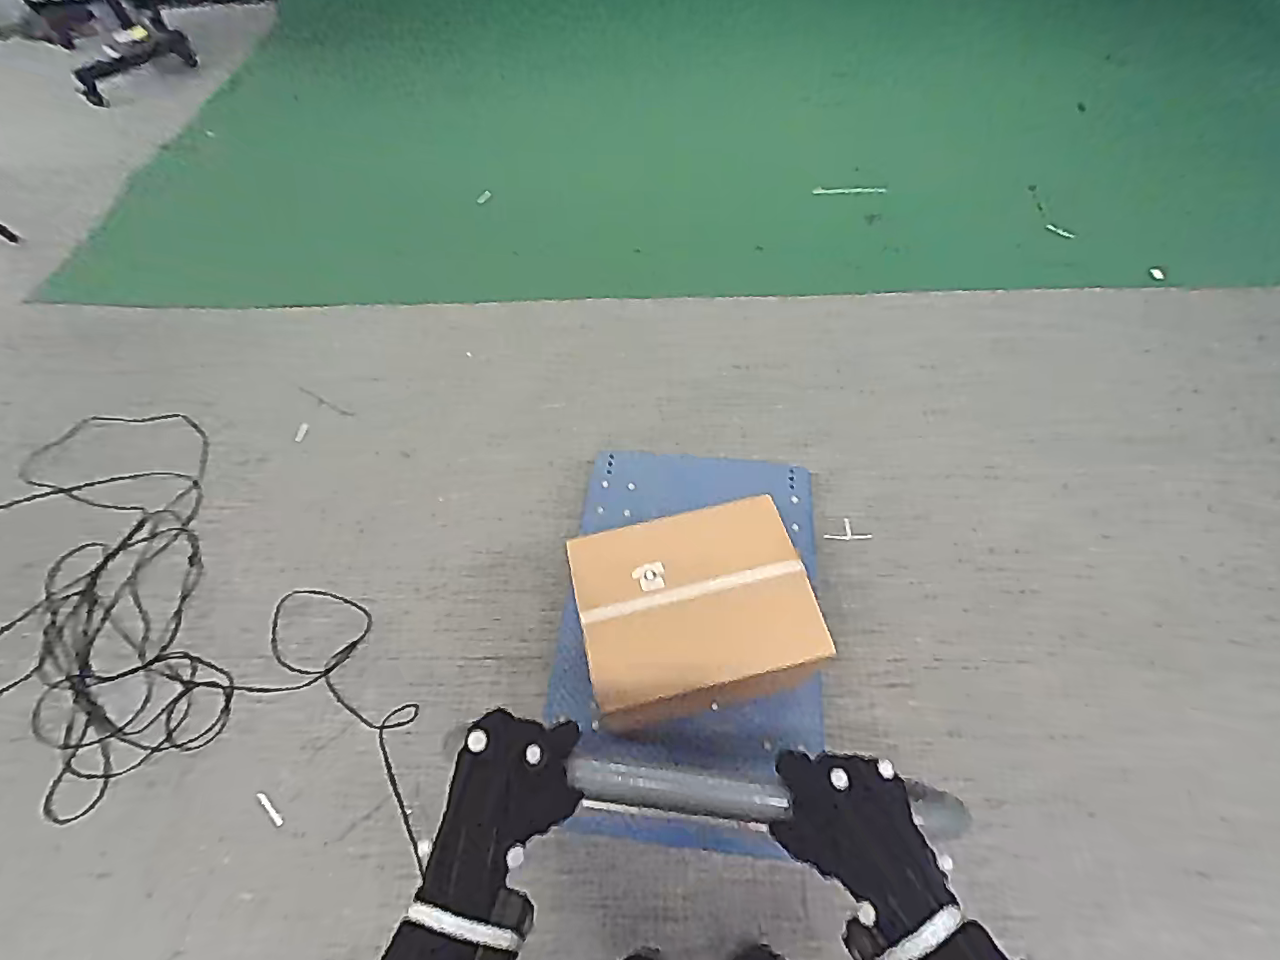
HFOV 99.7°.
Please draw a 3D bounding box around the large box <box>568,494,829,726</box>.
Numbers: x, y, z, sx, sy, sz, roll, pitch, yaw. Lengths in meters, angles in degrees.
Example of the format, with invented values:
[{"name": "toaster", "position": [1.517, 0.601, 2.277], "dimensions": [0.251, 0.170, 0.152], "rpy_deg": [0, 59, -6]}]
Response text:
[{"name": "large box", "position": [0.099, 0.271, 1.085], "dimensions": [0.408, 0.320, 0.320], "rpy_deg": [-13, 59, -4]}]
